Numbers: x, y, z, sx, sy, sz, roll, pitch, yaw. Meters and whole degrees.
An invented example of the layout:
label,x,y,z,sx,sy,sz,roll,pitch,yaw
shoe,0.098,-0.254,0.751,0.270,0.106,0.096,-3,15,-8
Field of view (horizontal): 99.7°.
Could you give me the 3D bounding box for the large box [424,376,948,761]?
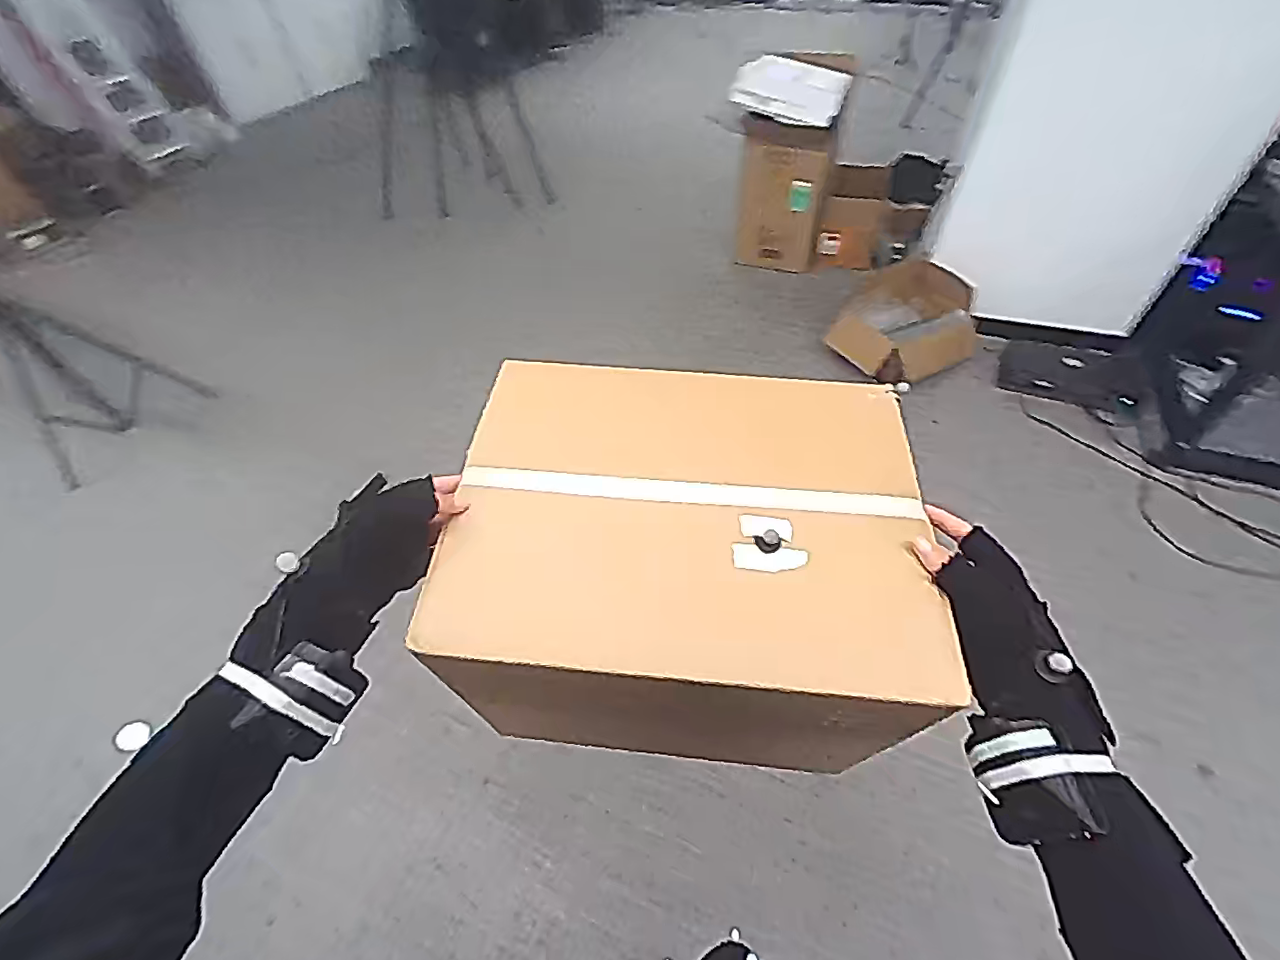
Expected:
label,x,y,z,sx,sy,sz,roll,pitch,yaw
large box,0.039,0.108,0.610,0.408,0.320,0.320,4,55,3
